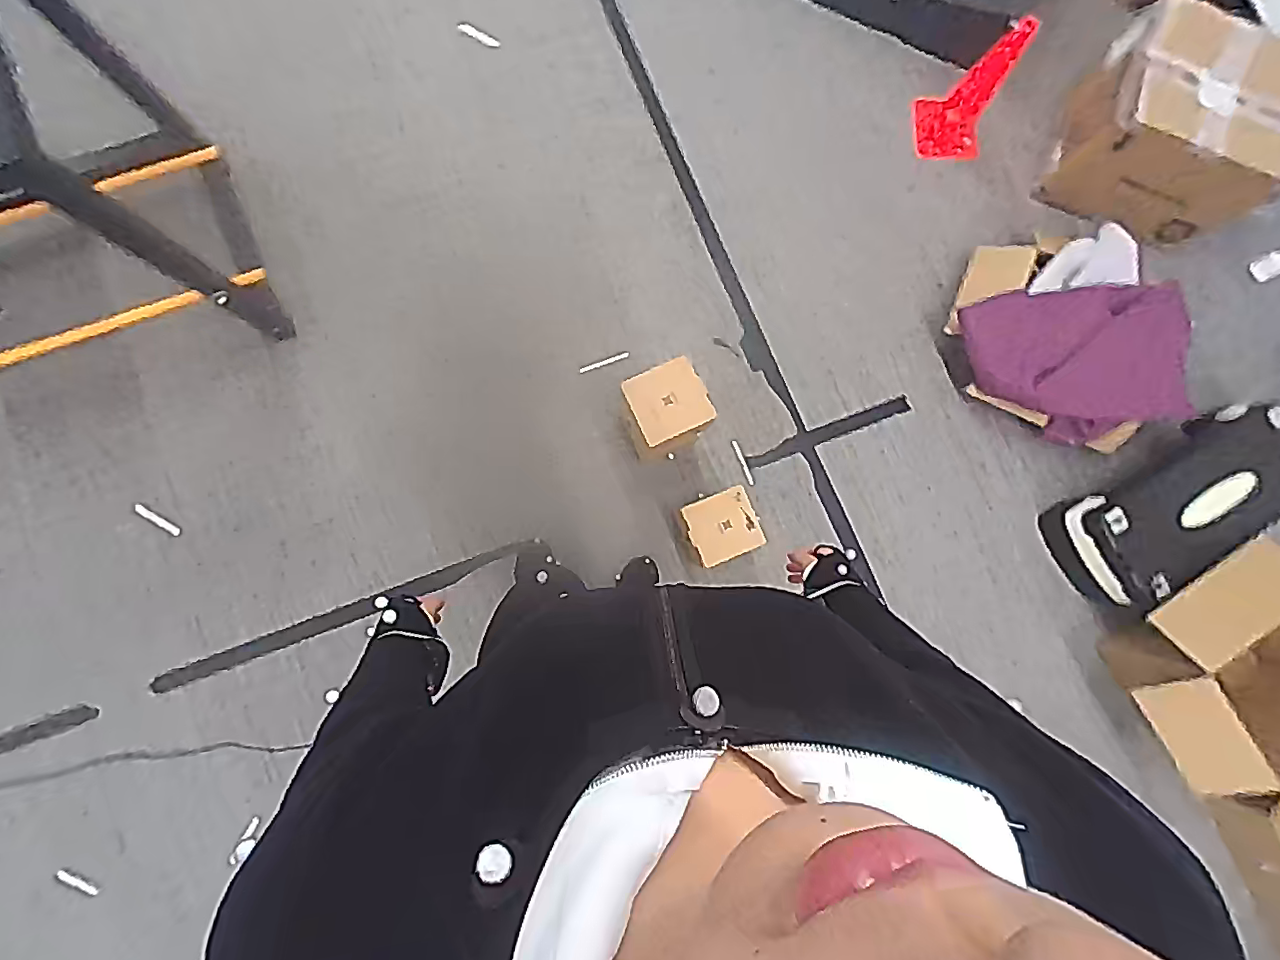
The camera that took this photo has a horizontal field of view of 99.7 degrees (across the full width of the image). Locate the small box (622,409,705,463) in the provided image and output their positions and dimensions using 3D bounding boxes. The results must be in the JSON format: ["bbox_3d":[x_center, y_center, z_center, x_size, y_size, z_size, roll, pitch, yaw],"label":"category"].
[{"bbox_3d":[0.057,-0.160,1.469,0.168,0.176,0.179,-23,86,-5],"label":"small box"}]

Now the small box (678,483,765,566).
[{"bbox_3d":[0.208,0.122,1.450,0.179,0.176,0.168,-21,86,-5],"label":"small box"}]

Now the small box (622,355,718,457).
[{"bbox_3d":[0.065,-0.172,1.307,0.179,0.176,0.168,-26,85,-4],"label":"small box"}]
